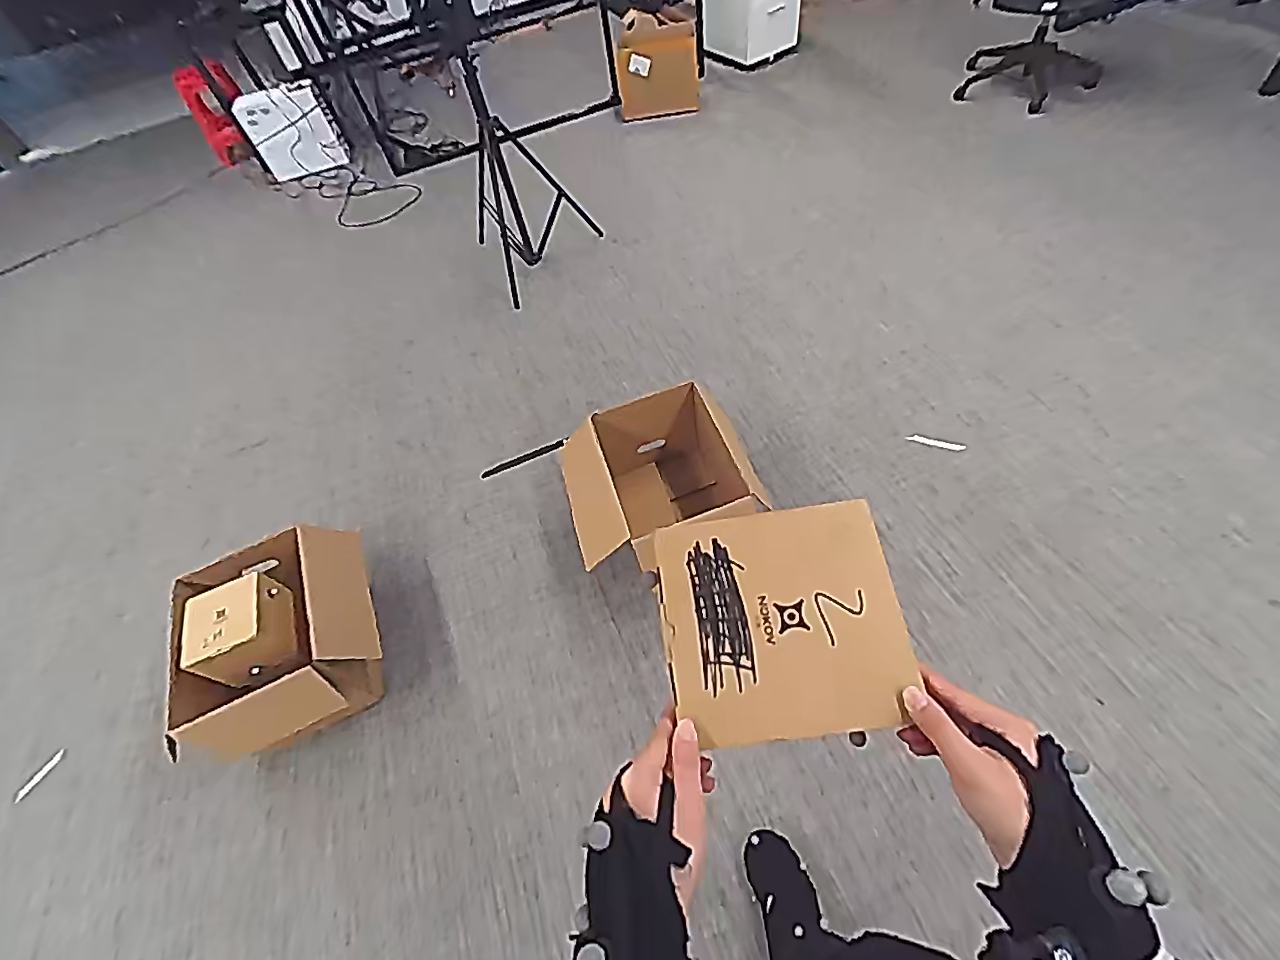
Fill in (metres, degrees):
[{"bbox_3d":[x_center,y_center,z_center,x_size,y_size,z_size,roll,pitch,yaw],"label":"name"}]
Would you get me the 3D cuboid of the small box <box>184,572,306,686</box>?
[{"bbox_3d":[-0.919,0.354,1.274,0.168,0.176,0.179,-24,55,-7],"label":"small box"}]
